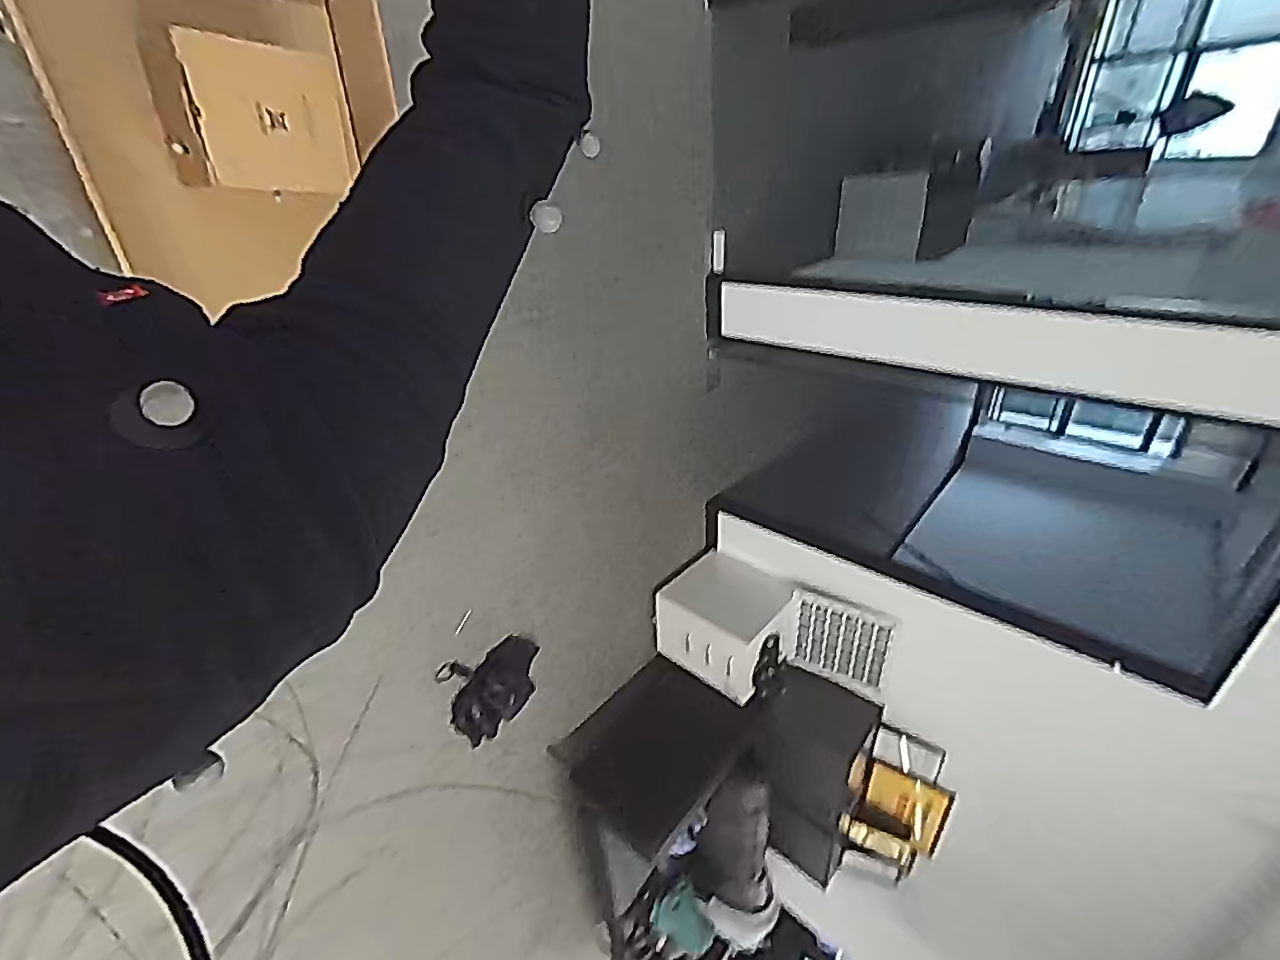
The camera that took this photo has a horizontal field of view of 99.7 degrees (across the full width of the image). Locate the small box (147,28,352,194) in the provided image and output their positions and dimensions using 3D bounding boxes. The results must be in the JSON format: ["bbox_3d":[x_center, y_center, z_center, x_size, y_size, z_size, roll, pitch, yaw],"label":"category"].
[{"bbox_3d":[-0.541,-0.494,0.752,0.179,0.176,0.168,-28,130,-44],"label":"small box"}]
